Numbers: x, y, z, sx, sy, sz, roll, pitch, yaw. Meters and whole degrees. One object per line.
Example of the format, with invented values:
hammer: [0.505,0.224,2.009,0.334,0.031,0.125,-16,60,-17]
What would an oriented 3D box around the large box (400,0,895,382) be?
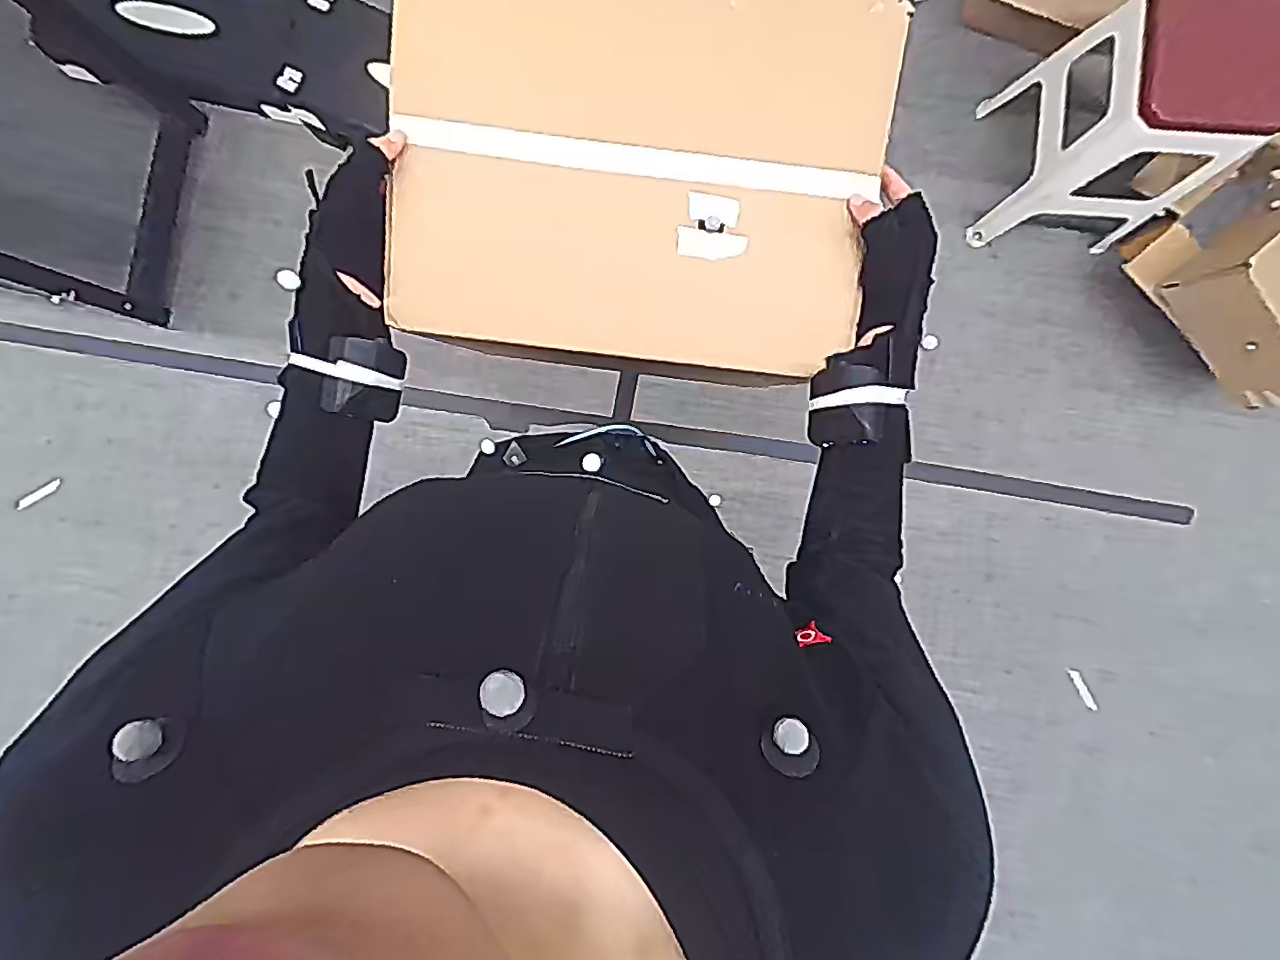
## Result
large box: [-0.006,-0.288,0.608,0.408,0.320,0.320,6,100,-3]
